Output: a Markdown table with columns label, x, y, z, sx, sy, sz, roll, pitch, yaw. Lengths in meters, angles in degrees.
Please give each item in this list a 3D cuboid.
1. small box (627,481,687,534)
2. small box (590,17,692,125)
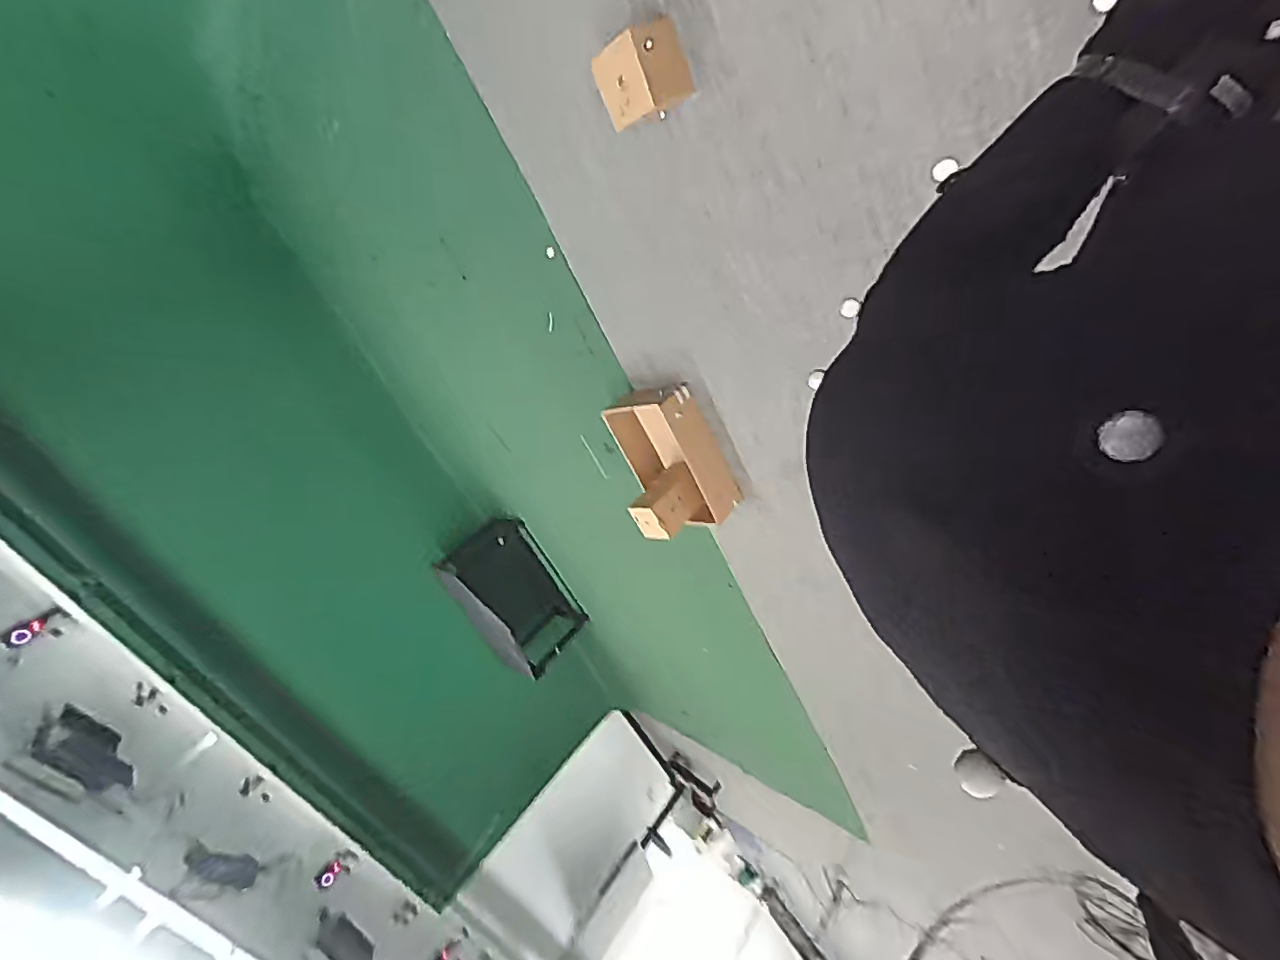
| label | x | y | z | sx | sy | sz | roll | pitch | yaw |
| --- | --- | --- | --- | --- | --- | --- | --- | --- | --- |
| small box | 0.083 | 0.118 | 2.337 | 0.179 | 0.176 | 0.168 | -3 | 124 | 52 |
| small box | 0.007 | -1.082 | 1.428 | 0.168 | 0.176 | 0.179 | 9 | 133 | 49 |
